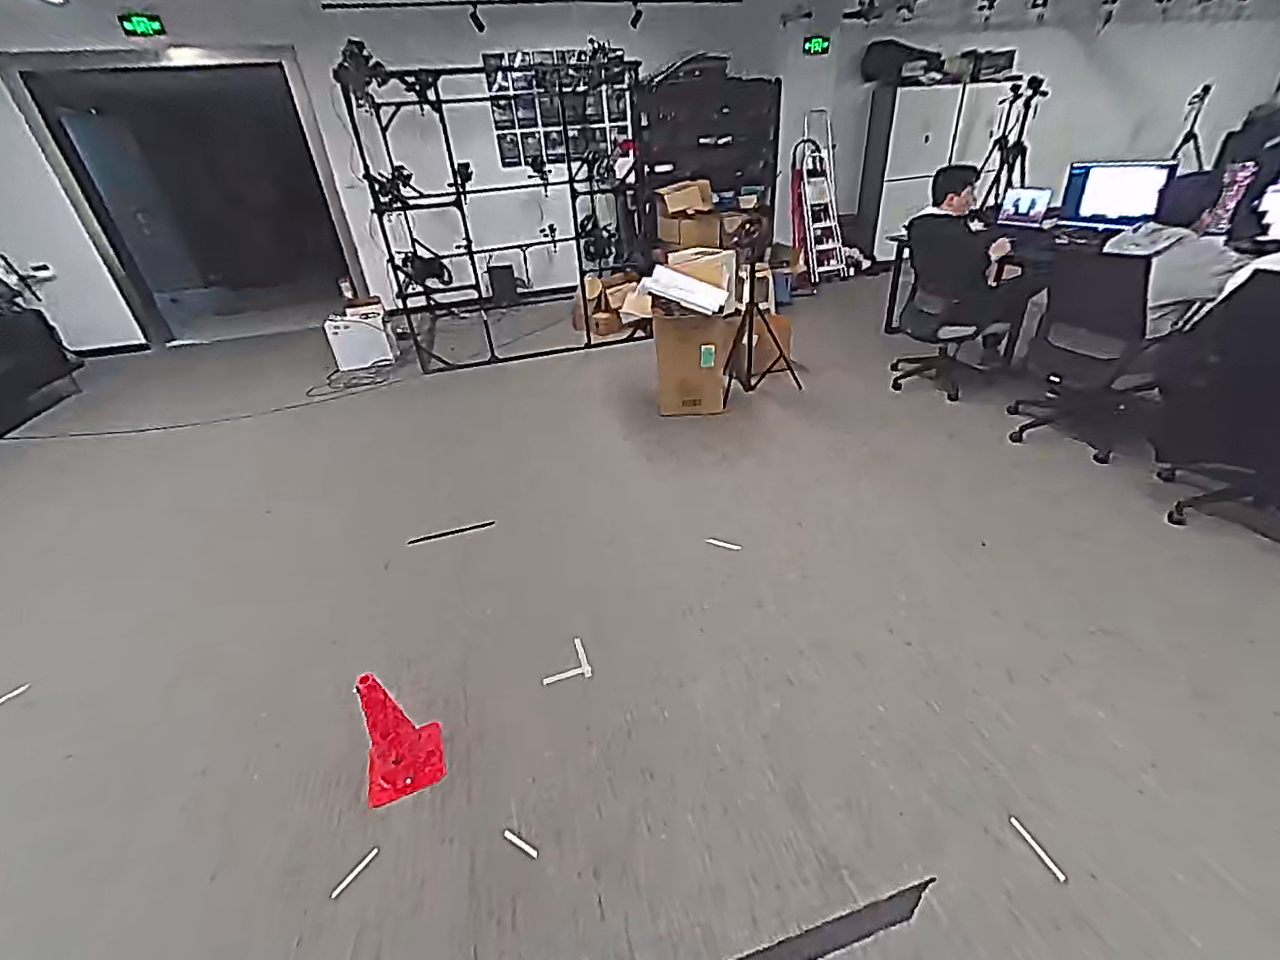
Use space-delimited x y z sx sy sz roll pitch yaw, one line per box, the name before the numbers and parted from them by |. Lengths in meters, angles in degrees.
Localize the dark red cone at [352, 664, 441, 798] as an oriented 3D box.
dark red cone | -0.675 0.628 1.420 0.202 0.394 0.201 -16 34 -18
